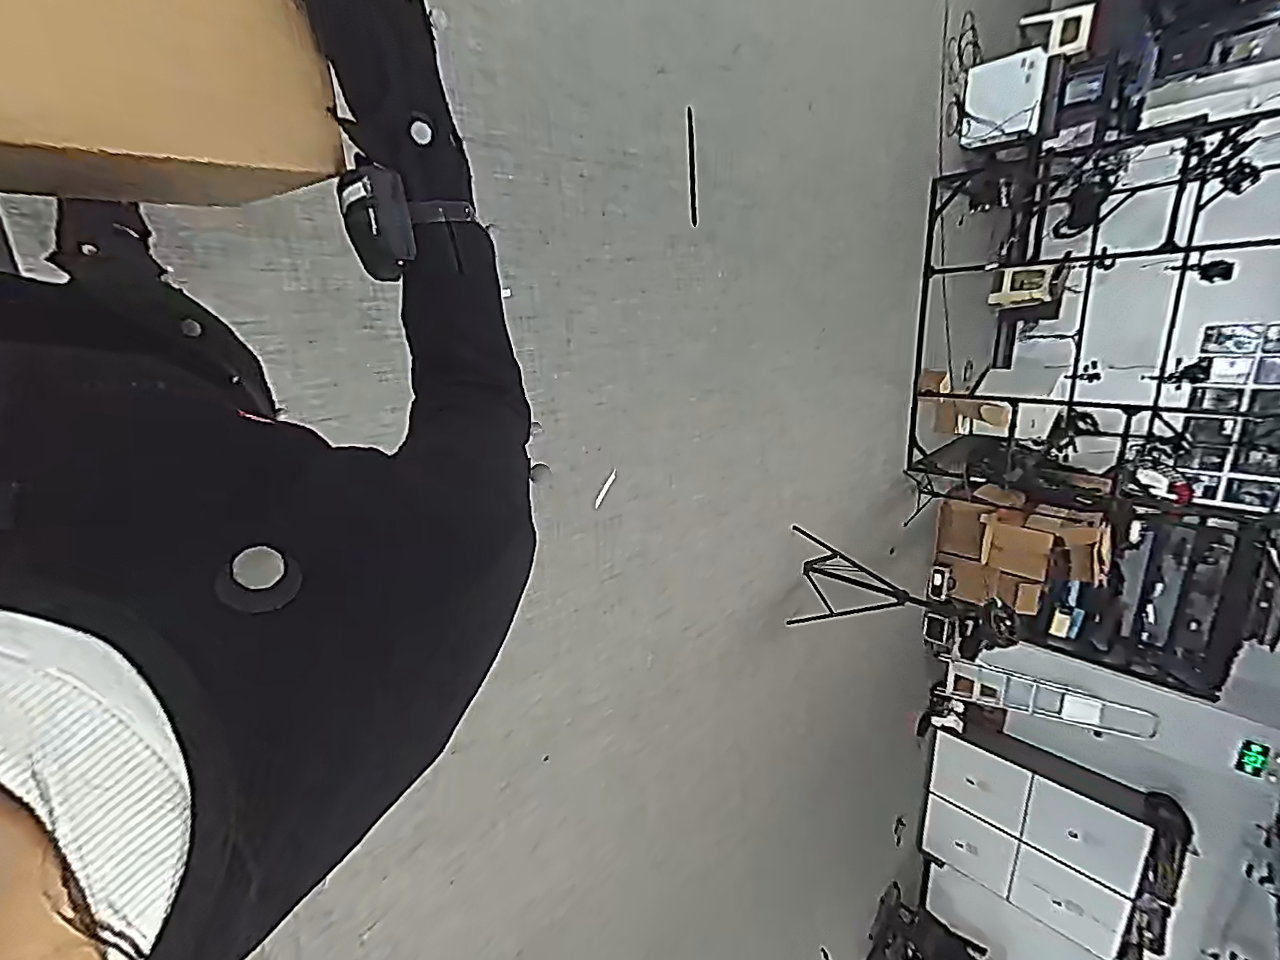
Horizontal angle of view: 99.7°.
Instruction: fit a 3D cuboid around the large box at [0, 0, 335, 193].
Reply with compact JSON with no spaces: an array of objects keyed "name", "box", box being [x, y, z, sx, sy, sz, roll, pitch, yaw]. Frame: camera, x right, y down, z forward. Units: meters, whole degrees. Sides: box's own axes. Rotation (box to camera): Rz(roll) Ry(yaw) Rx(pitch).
[{"name":"large box","box":[-0.457,-0.345,0.282,0.408,0.320,0.320,-22,122,-42]}]
